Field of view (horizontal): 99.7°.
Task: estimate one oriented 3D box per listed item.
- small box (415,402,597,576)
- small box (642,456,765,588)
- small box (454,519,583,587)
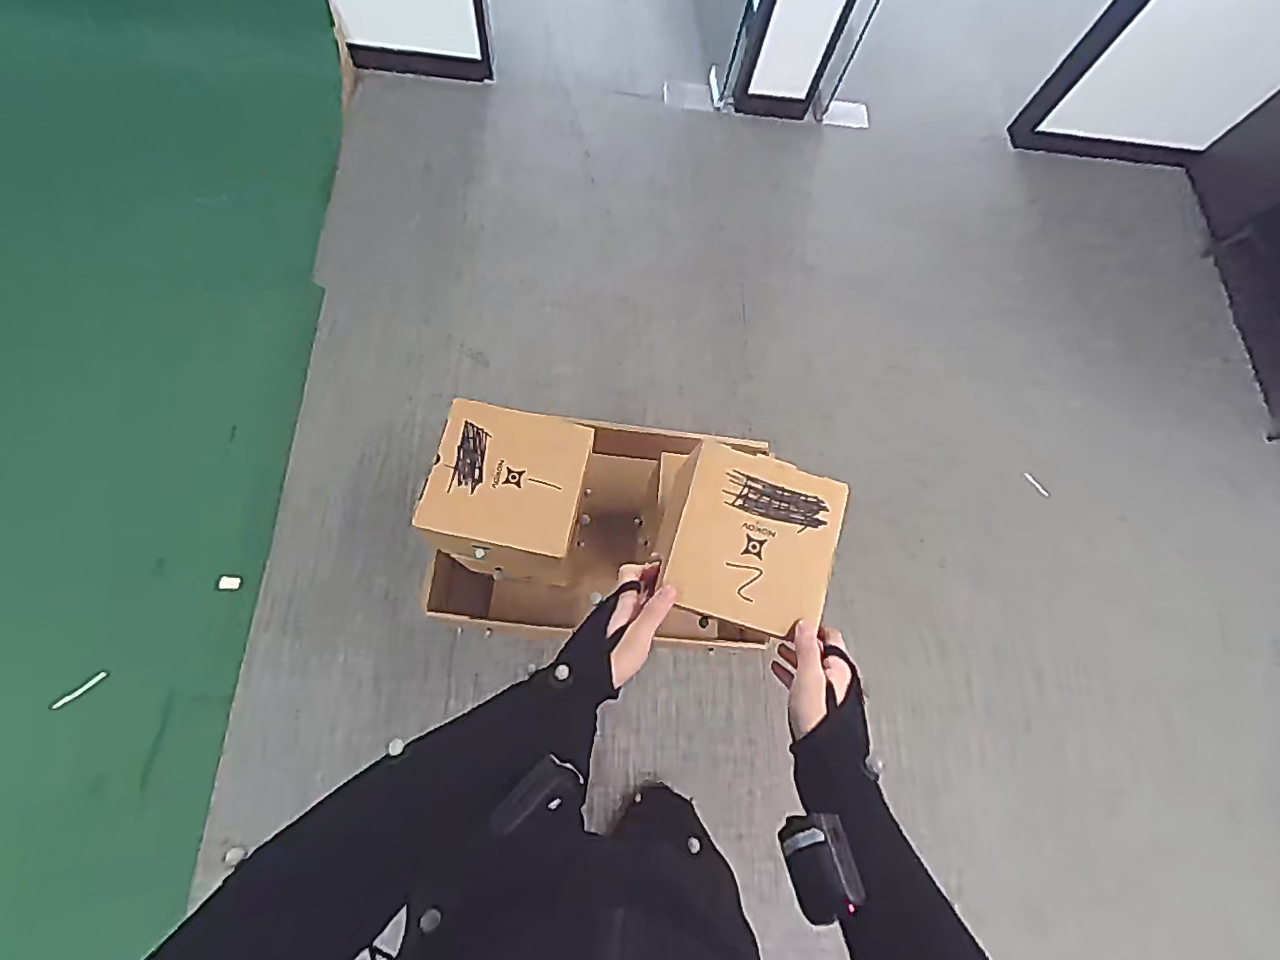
[{"bbox_3d":[-0.161,0.023,0.705,0.179,0.176,0.168,13,71,-4],"label":"small box"},{"bbox_3d":[0.098,0.078,0.893,0.168,0.176,0.179,8,72,-6],"label":"small box"},{"bbox_3d":[-0.179,0.069,0.862,0.168,0.176,0.179,10,71,-4],"label":"small box"}]
